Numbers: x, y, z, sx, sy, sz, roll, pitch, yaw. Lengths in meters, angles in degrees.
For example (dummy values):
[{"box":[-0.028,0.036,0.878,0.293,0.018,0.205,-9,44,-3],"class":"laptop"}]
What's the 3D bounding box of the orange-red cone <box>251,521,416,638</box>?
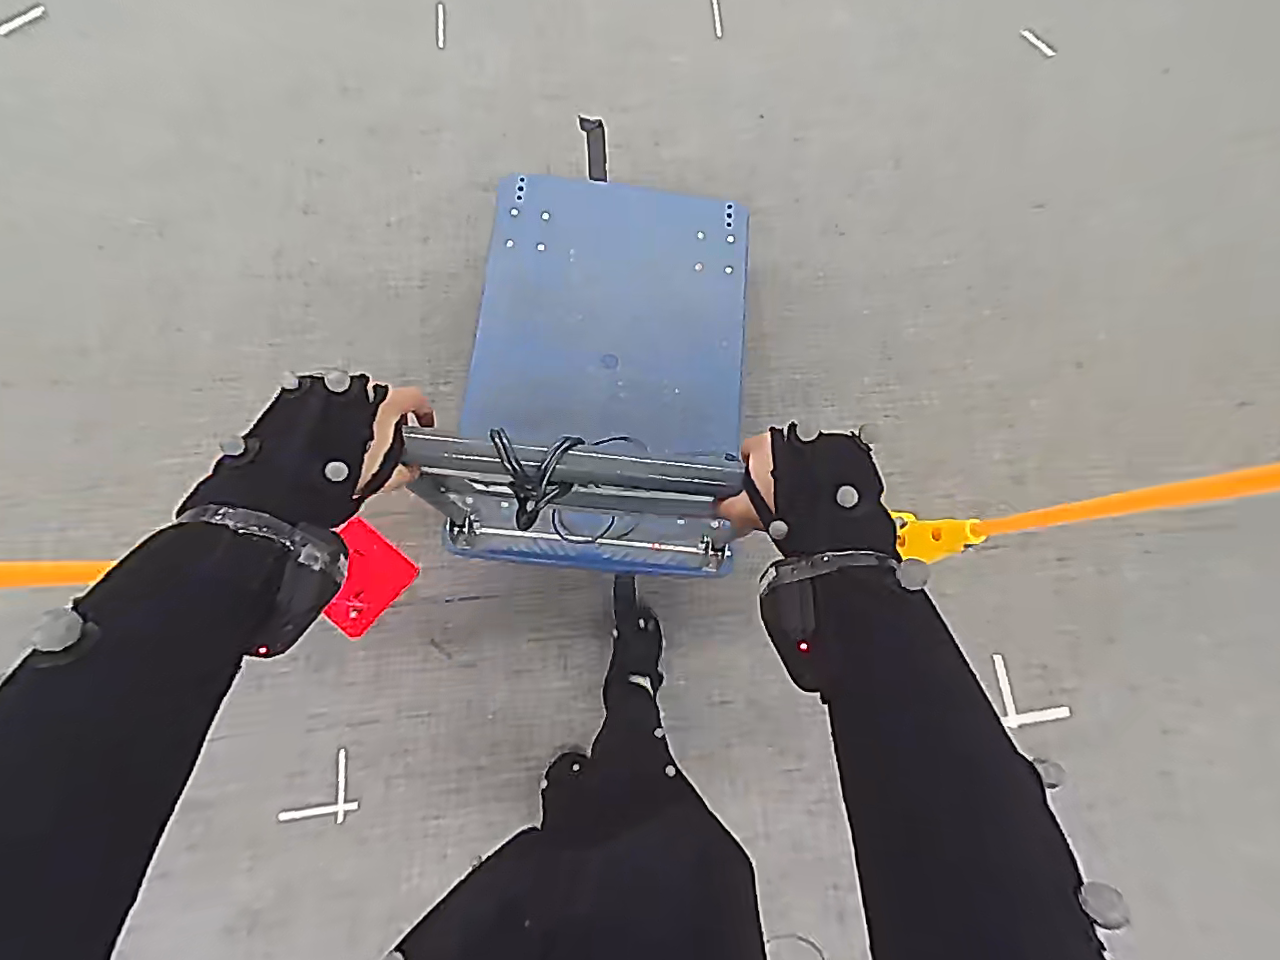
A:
[{"box":[-0.602,0.174,1.010,0.198,0.360,0.199,41,76,4],"class":"orange-red cone"}]
